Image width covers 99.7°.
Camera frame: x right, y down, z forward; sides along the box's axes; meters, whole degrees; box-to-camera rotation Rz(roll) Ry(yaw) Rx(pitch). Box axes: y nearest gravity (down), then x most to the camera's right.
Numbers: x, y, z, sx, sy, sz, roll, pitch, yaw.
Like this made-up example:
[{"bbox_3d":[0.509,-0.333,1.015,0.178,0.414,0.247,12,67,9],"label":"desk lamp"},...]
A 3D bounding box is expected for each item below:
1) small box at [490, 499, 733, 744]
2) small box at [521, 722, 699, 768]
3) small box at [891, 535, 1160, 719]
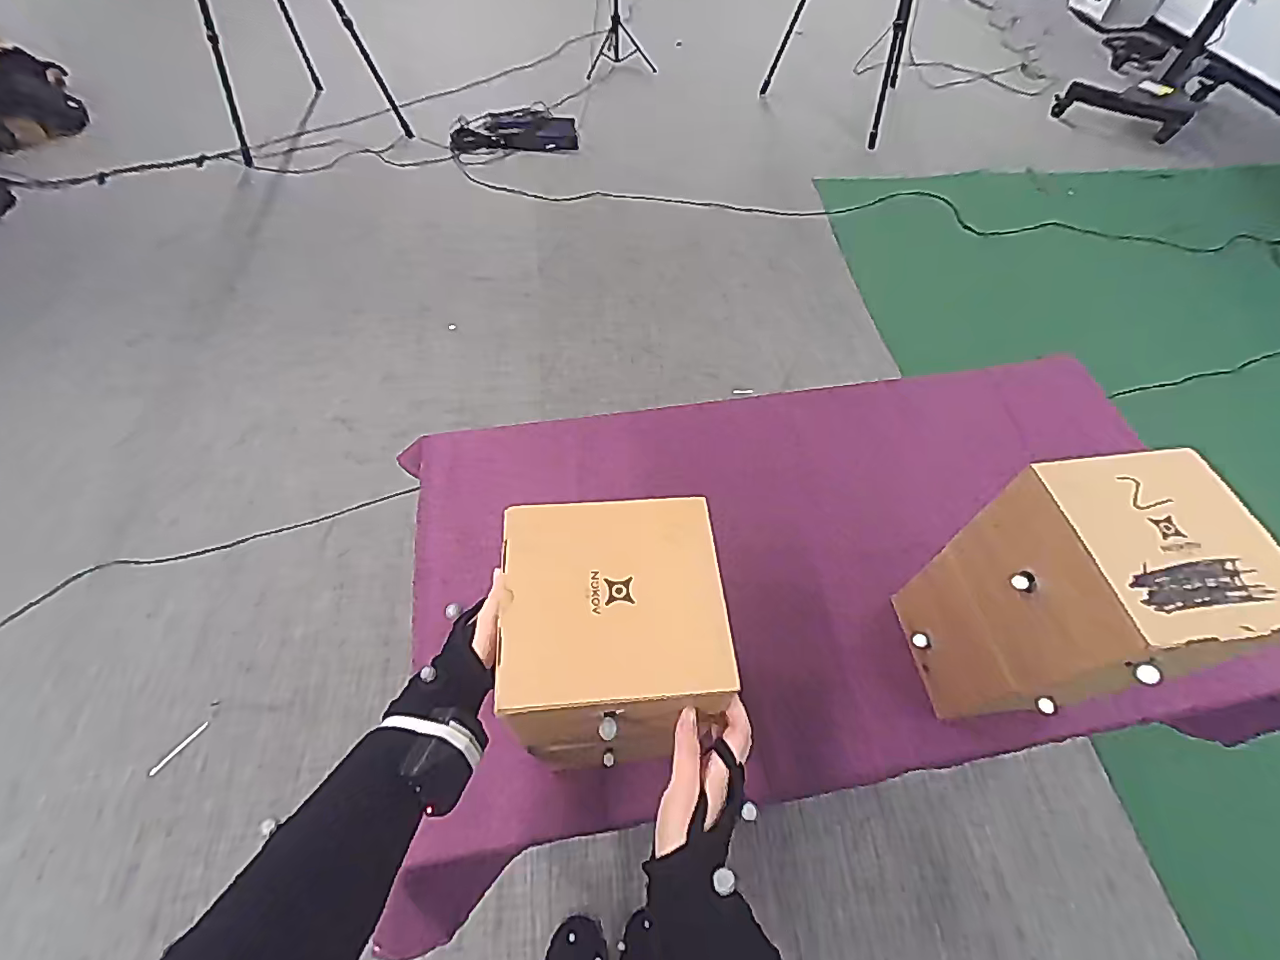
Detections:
[{"bbox_3d":[-0.027,0.133,0.491,0.179,0.176,0.168,-4,56,-4],"label":"small box"},{"bbox_3d":[-0.035,0.227,0.627,0.179,0.176,0.168,-5,57,-4],"label":"small box"},{"bbox_3d":[0.447,0.185,0.665,0.179,0.176,0.168,-6,56,-4],"label":"small box"}]
